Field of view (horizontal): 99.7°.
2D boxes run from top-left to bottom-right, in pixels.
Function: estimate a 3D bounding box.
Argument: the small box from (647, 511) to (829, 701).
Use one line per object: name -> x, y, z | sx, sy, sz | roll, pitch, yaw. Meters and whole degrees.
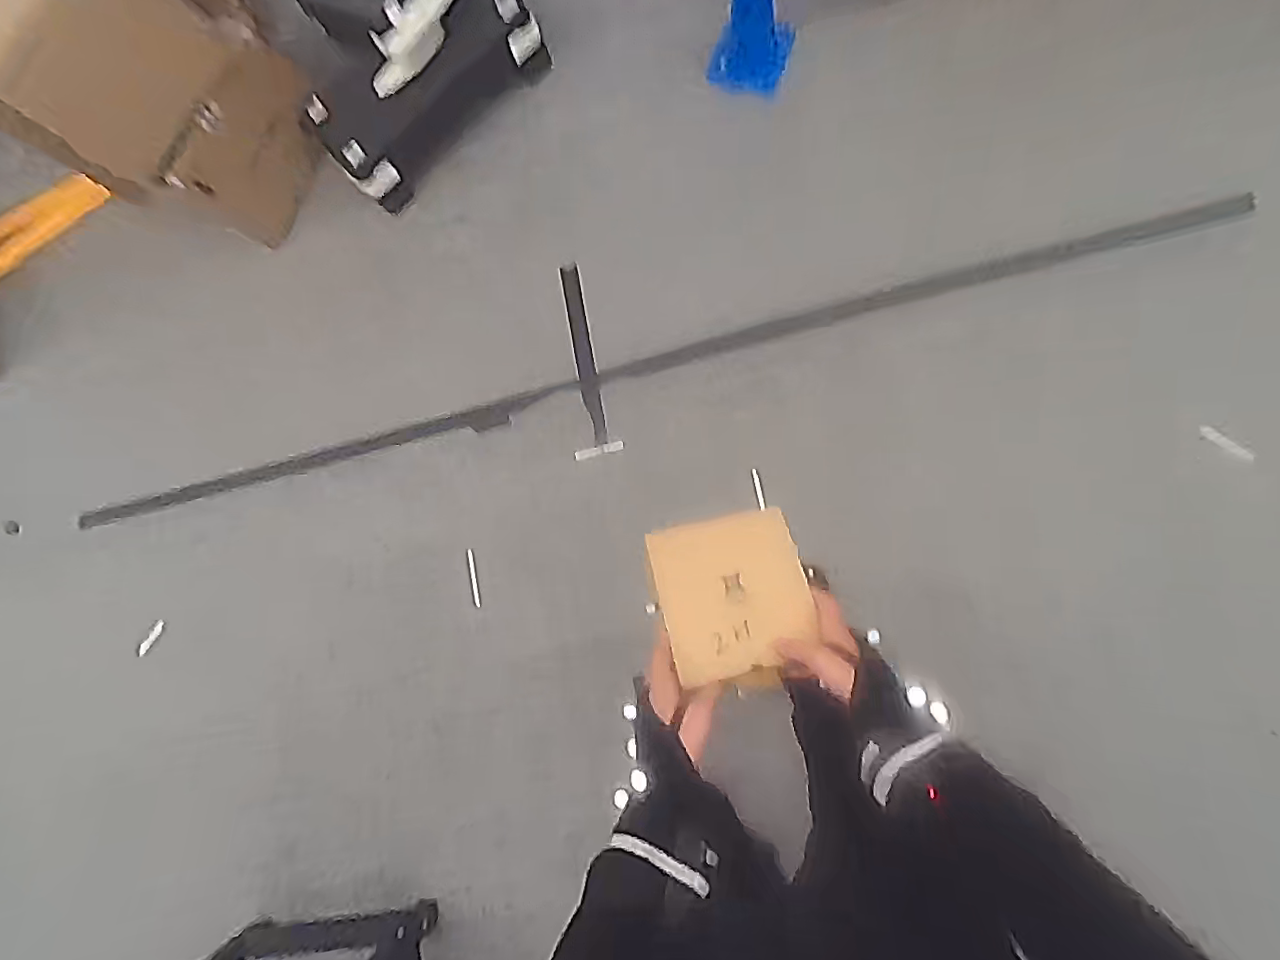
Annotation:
small box -> 0.105, 0.162, 0.669 | 0.168, 0.176, 0.179 | -12, 65, -3
